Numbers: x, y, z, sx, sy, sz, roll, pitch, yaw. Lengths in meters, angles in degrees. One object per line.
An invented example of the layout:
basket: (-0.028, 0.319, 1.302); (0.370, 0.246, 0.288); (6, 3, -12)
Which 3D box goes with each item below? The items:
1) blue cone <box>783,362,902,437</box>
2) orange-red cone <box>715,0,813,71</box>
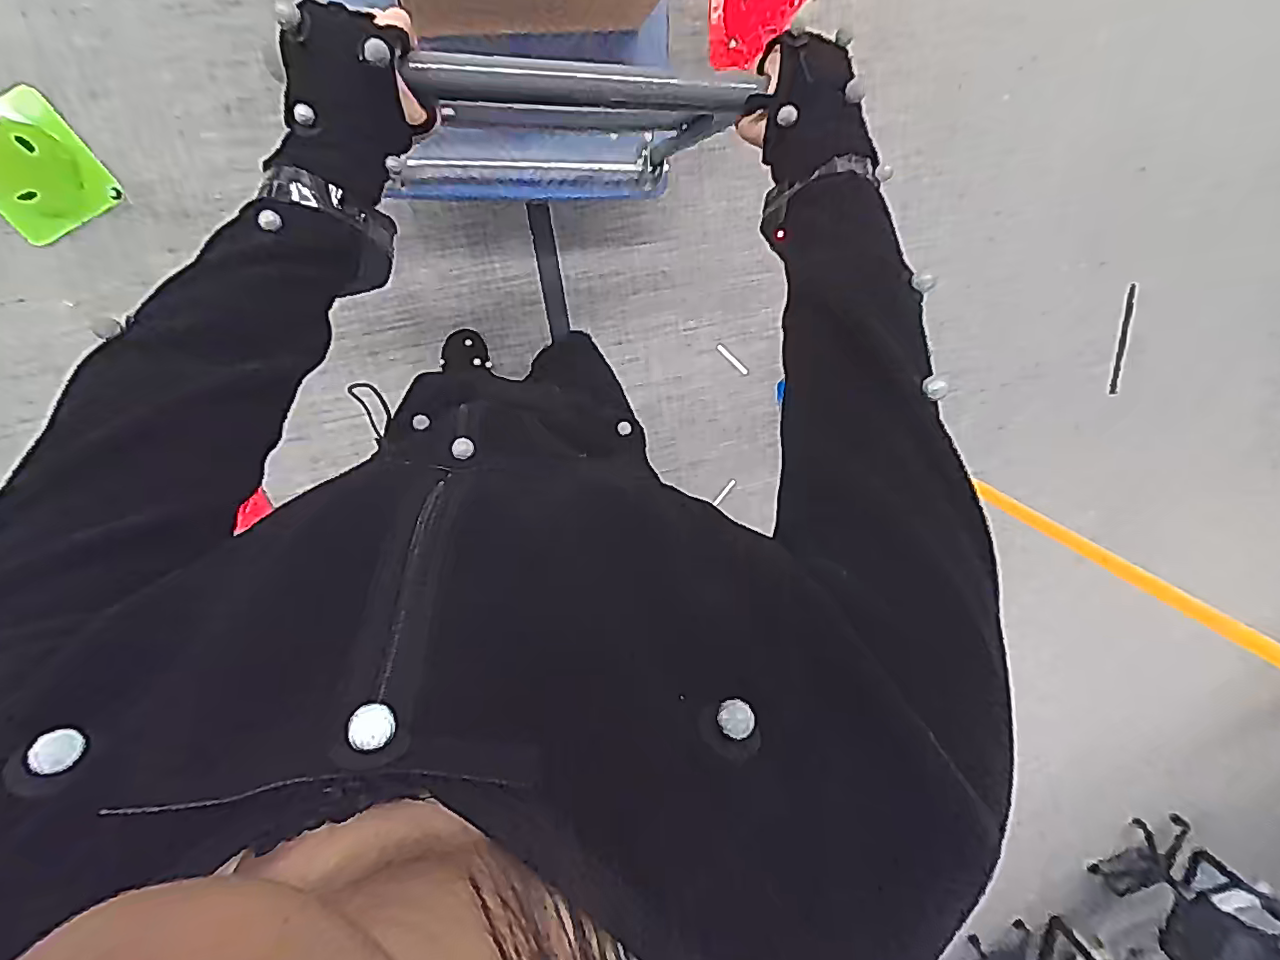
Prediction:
blue cone: (0.552, -0.173, 1.430); (0.193, 0.380, 0.192); (-18, 114, -9)
orange-red cone: (0.305, -0.951, 1.025); (0.199, 0.360, 0.198); (-8, 114, -14)
